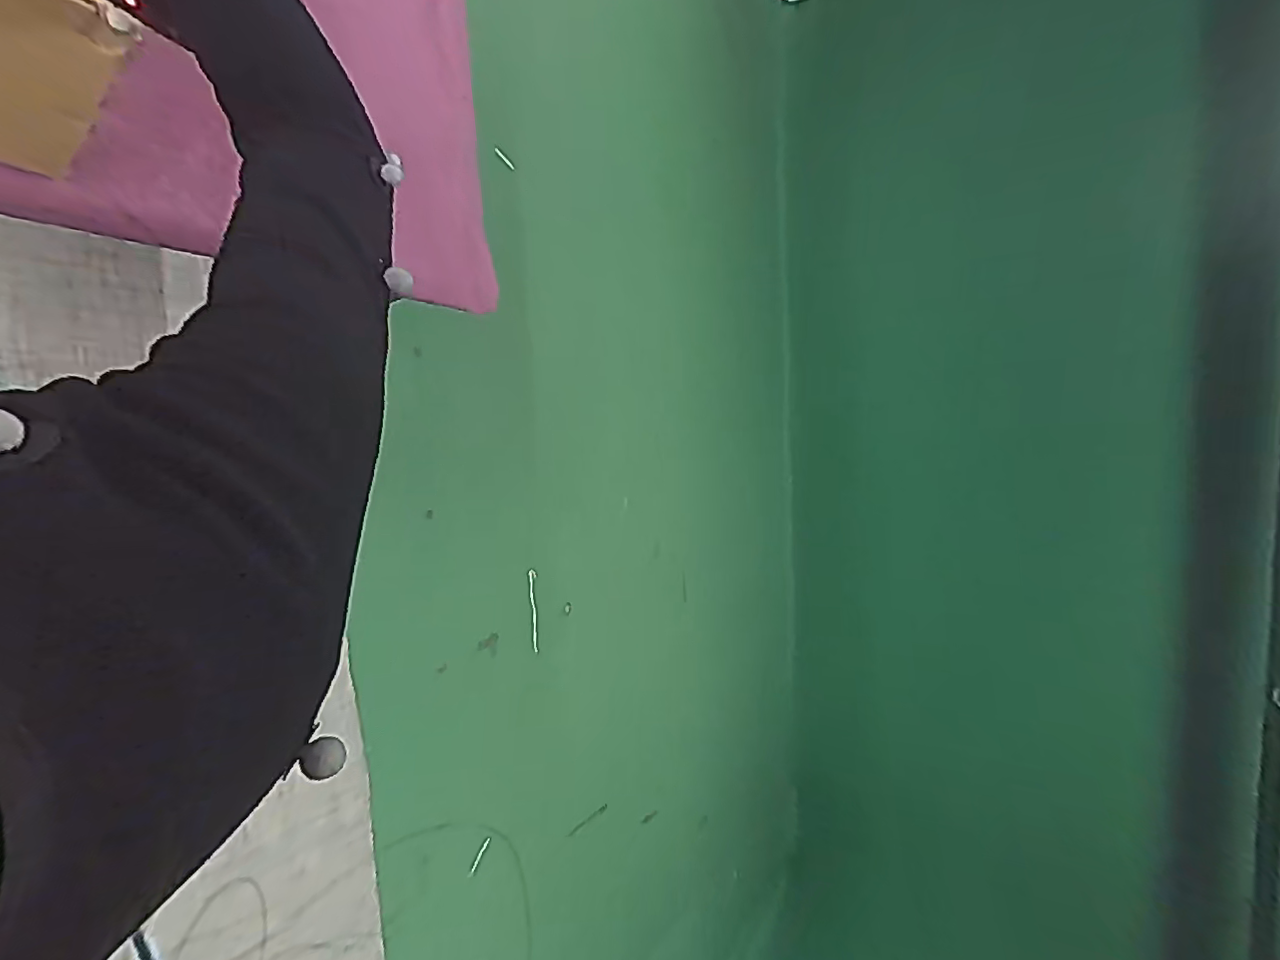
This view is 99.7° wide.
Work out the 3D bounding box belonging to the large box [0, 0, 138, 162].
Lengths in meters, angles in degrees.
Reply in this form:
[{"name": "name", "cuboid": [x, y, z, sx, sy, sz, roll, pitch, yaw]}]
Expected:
[{"name": "large box", "cuboid": [-0.570, -0.509, 0.335, 0.320, 0.320, 0.408, -4, 94, -53]}]
